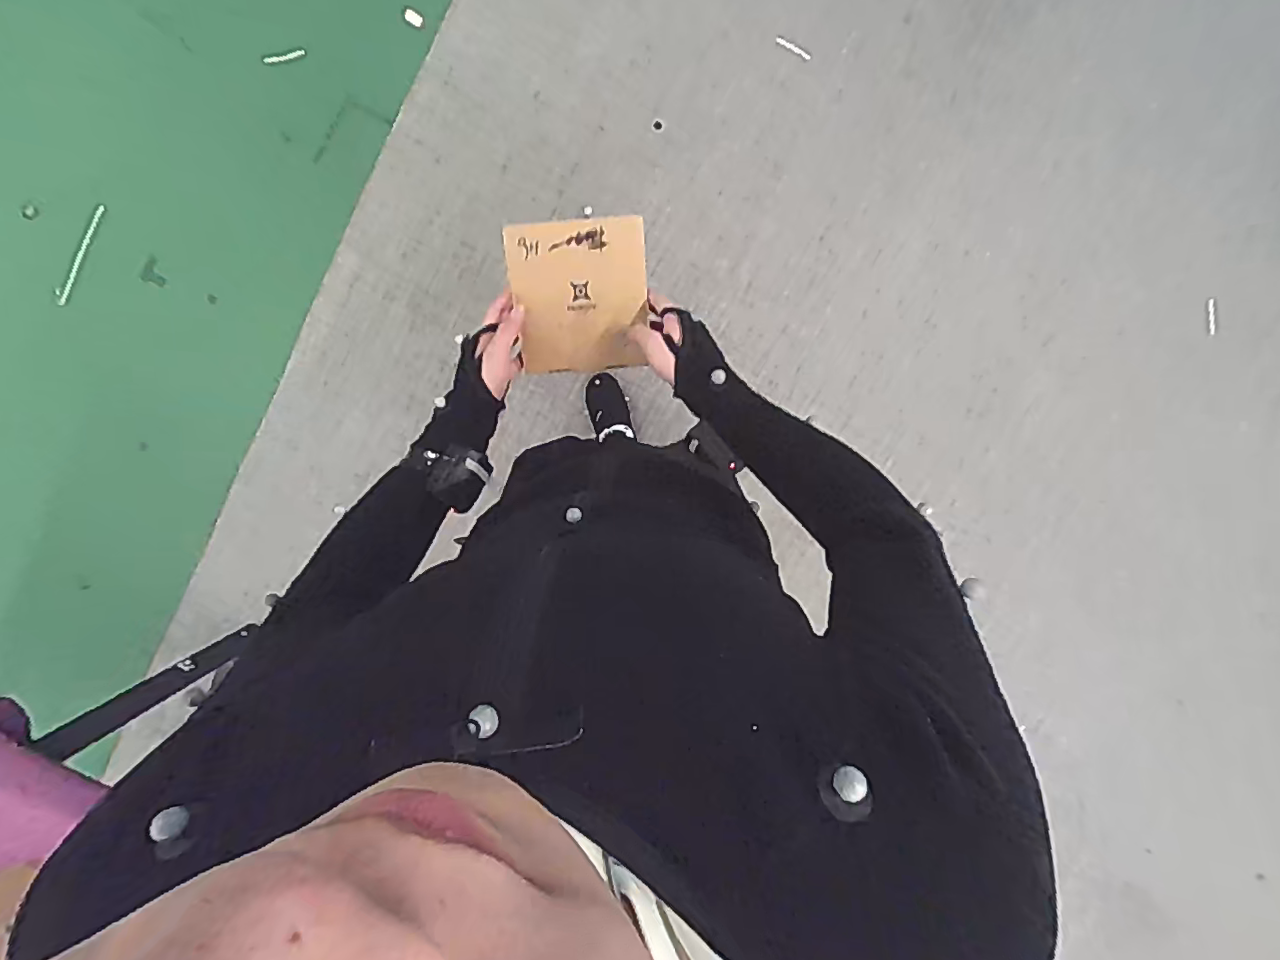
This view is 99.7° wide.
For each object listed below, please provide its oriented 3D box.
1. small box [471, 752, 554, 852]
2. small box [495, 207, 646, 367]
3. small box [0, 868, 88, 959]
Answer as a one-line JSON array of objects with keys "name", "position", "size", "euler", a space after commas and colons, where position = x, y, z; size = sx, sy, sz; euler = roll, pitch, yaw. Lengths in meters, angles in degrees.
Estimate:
[{"name": "small box", "position": [-0.381, 0.978, 1.658], "size": [0.179, 0.176, 0.168], "euler": [27, 97, -2]}, {"name": "small box", "position": [-0.078, -0.258, 0.714], "size": [0.168, 0.176, 0.179], "euler": [-3, 114, 1]}, {"name": "small box", "position": [-1.114, 0.819, 0.916], "size": [0.168, 0.176, 0.179], "euler": [37, 96, -4]}]
